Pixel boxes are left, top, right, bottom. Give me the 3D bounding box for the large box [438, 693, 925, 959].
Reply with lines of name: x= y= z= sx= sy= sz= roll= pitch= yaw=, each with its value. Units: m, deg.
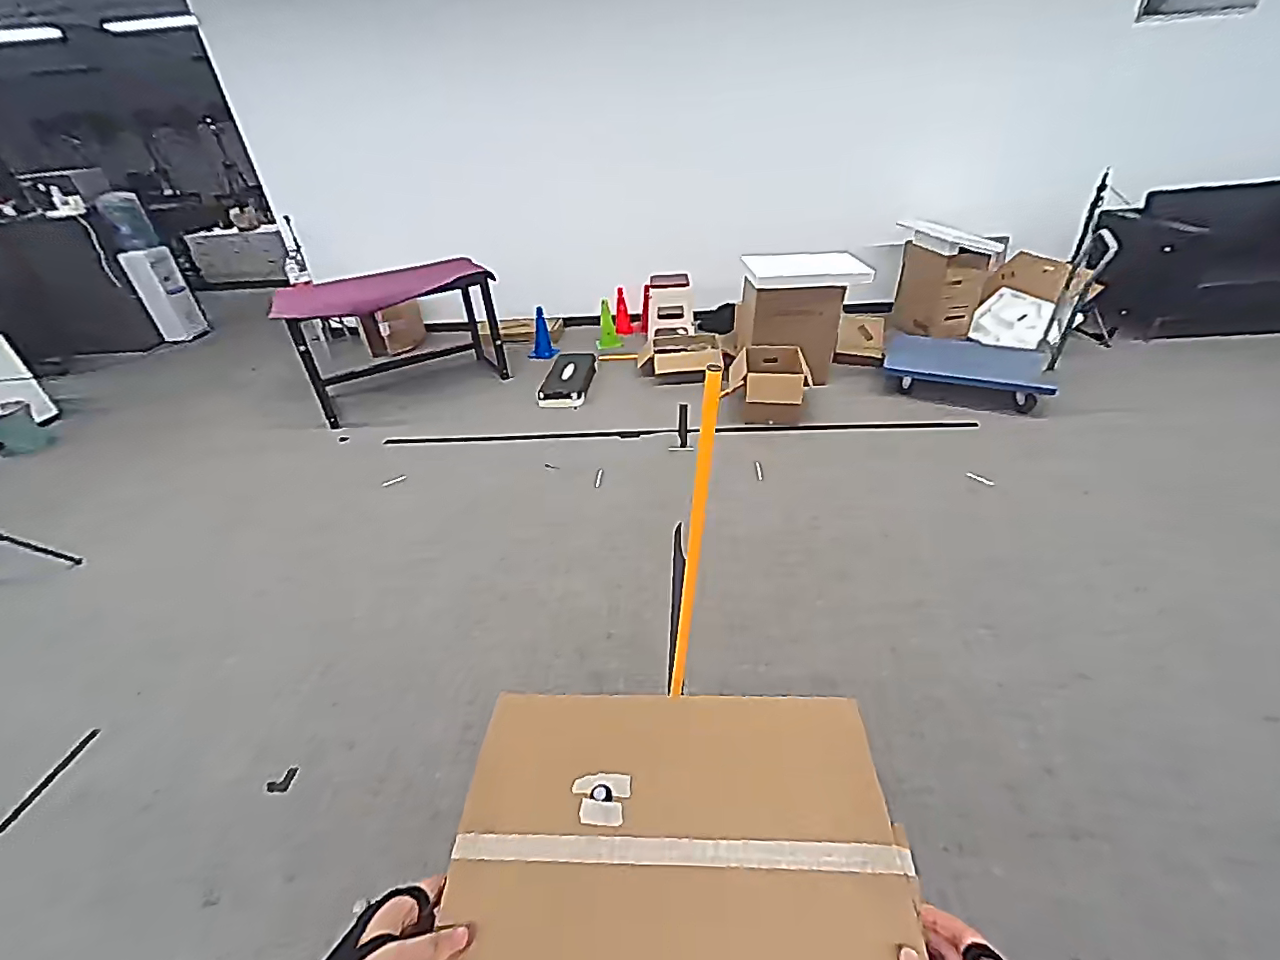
large box: x=0.048 y=0.462 z=0.590 sx=0.408 sy=0.320 sz=0.320 roll=-4 pitch=35 yaw=6
